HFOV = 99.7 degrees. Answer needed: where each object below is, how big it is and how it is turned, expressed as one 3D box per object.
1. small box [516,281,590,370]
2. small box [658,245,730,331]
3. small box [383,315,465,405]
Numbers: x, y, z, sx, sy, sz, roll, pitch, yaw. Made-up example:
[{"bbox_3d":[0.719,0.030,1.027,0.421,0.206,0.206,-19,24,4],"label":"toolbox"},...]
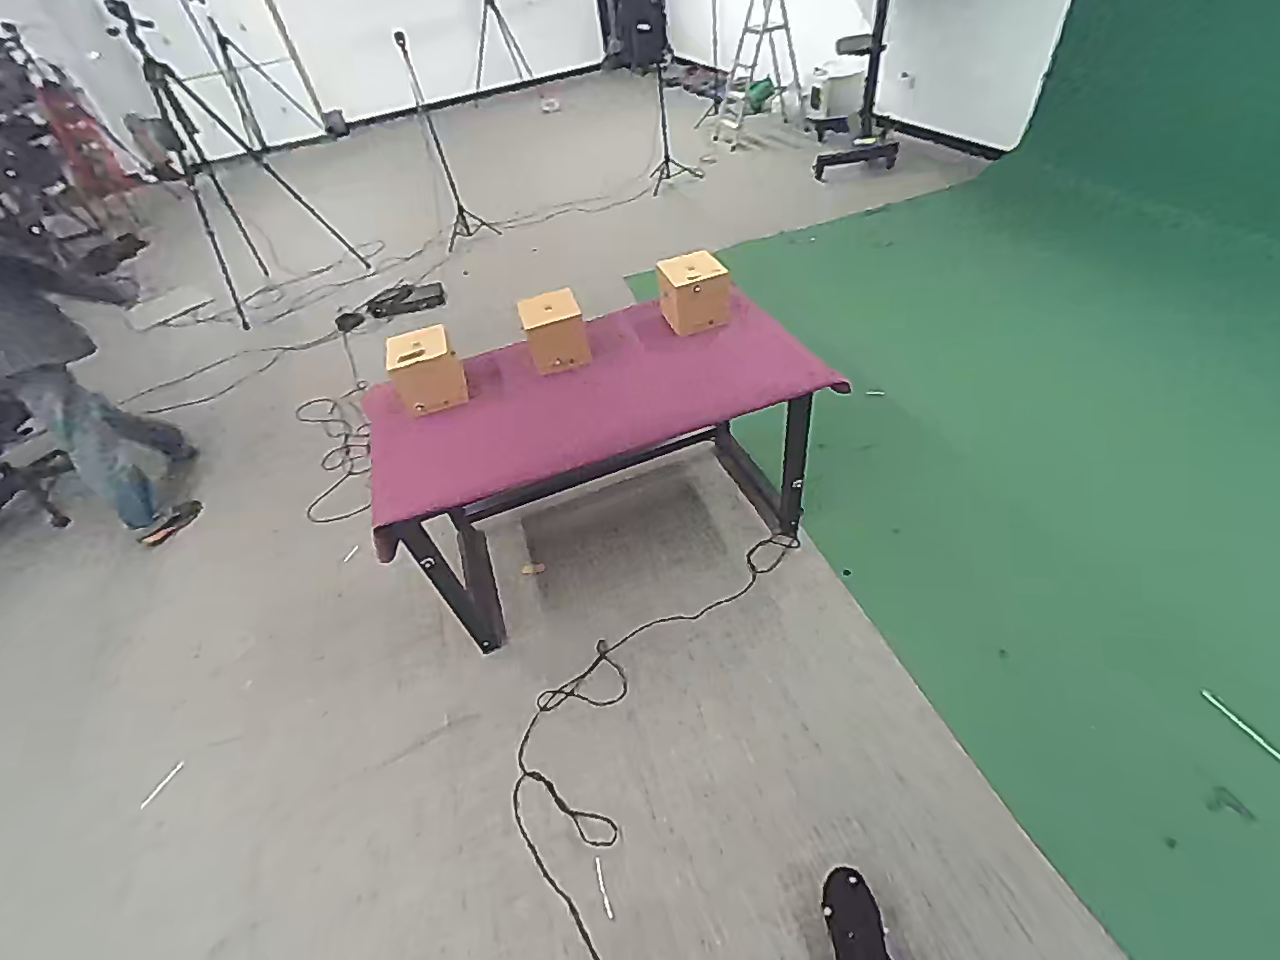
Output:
[{"bbox_3d":[-0.253,-0.451,1.584,0.168,0.176,0.179,-17,48,-6],"label":"small box"},{"bbox_3d":[0.162,-0.578,1.634,0.168,0.176,0.179,-18,47,-7],"label":"small box"},{"bbox_3d":[-0.605,-0.330,1.521,0.168,0.176,0.179,-17,48,-8],"label":"small box"}]
